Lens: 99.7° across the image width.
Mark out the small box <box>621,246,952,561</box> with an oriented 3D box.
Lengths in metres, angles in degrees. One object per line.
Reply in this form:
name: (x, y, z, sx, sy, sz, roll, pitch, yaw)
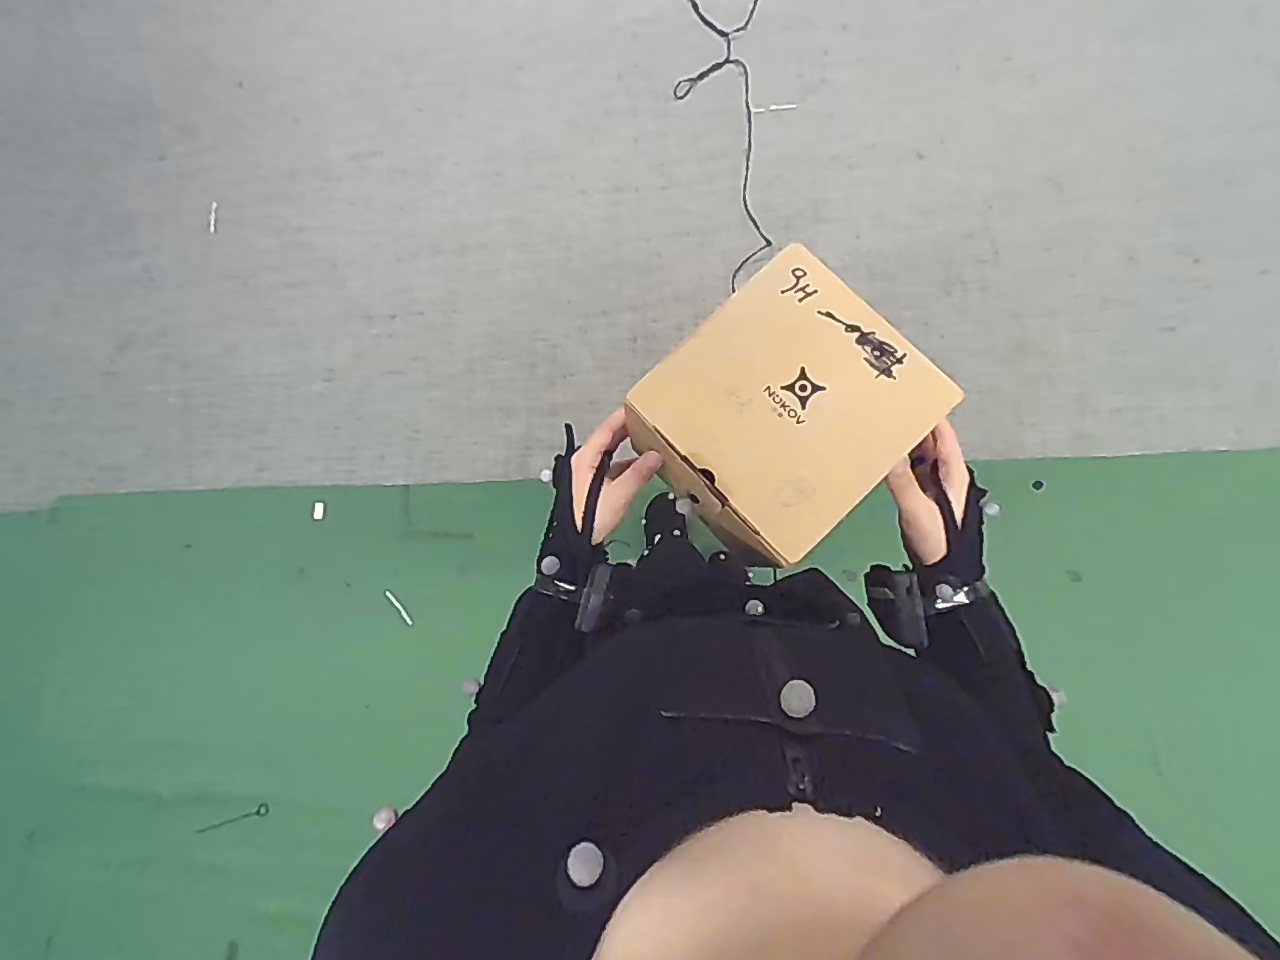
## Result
small box: (0.107, -0.046, 0.460, 0.179, 0.176, 0.168, -43, 82, -4)
